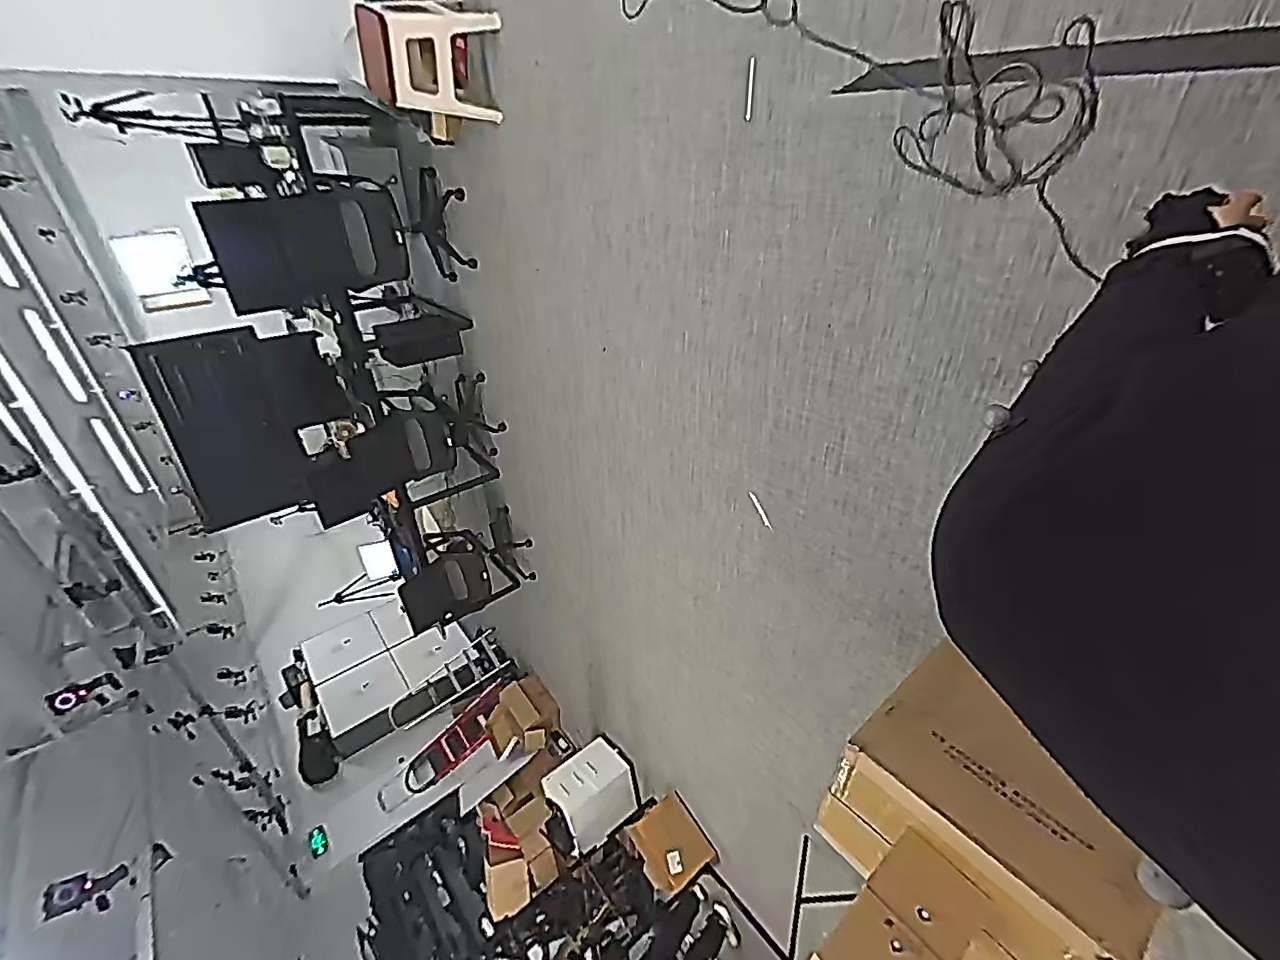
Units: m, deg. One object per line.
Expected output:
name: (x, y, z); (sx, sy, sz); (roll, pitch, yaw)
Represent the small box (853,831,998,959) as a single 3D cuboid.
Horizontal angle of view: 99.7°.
small box: (0.558, 0.848, 1.061); (0.179, 0.176, 0.168); (36, 137, 41)
